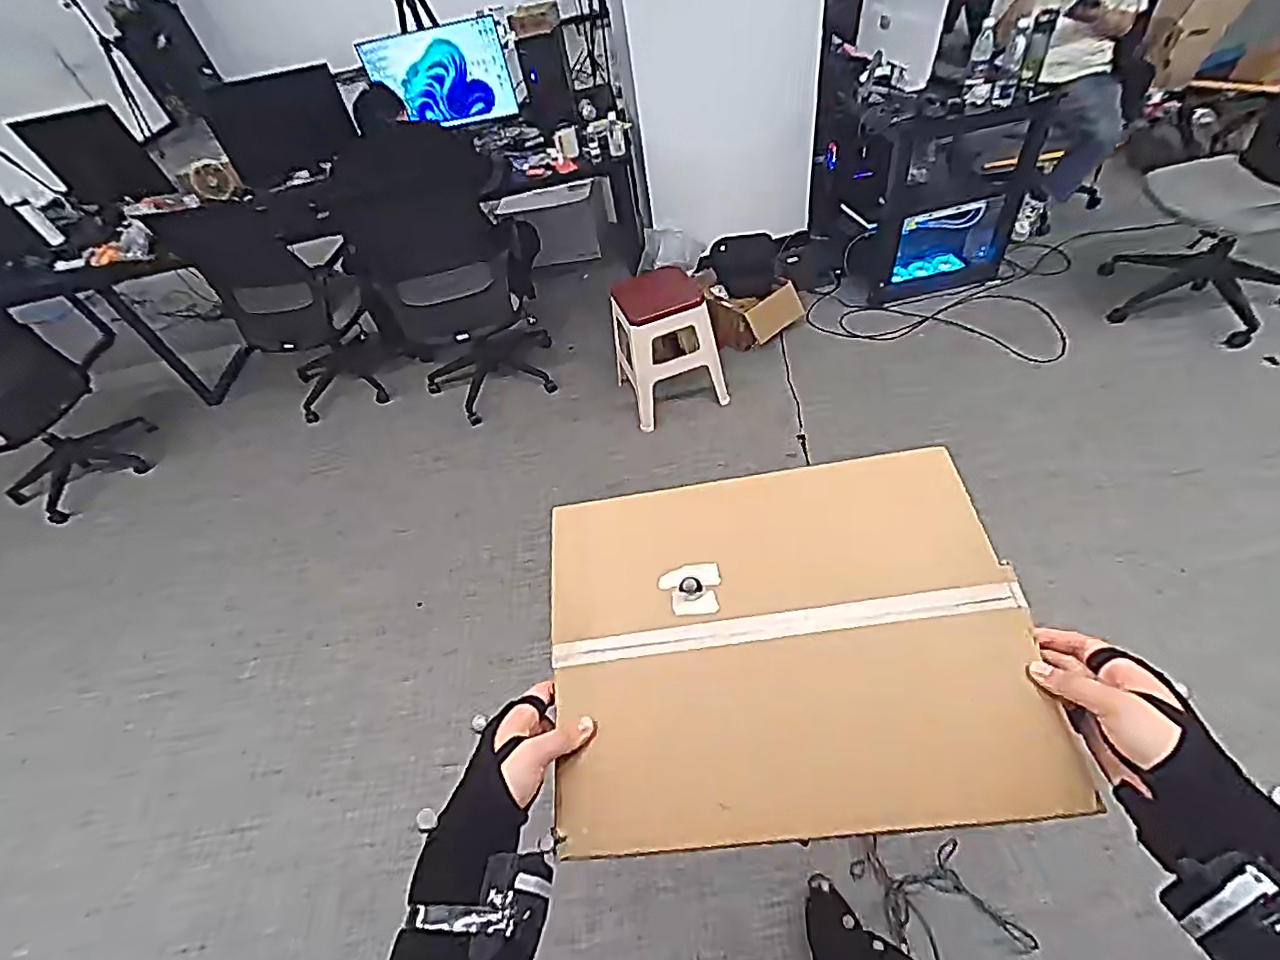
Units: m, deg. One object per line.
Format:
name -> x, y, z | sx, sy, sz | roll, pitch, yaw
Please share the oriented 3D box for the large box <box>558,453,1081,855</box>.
large box -> 0.150, 0.211, 0.621 | 0.408, 0.320, 0.320 | -11, 58, 7
